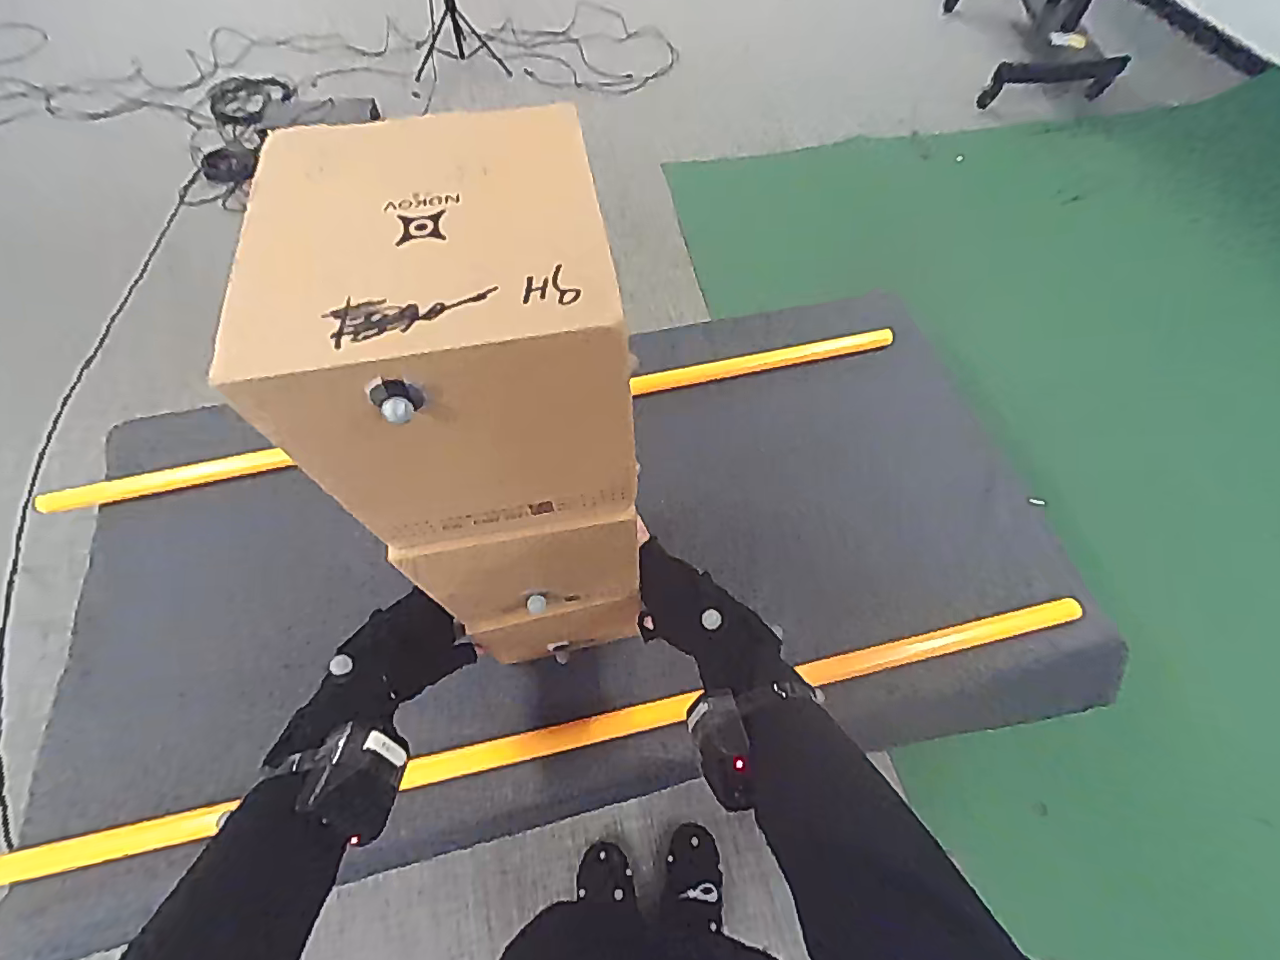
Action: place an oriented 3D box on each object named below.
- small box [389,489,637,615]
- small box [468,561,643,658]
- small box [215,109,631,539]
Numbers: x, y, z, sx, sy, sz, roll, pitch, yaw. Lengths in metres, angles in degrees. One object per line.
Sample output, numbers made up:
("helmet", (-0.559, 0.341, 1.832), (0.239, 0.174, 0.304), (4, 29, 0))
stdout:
("small box", (-0.097, 0.001, 0.470), (0.168, 0.176, 0.179), (-9, 62, -3))
("small box", (-0.095, 0.084, 0.612), (0.168, 0.176, 0.179), (-13, 63, -5))
("small box", (-0.101, -0.085, 0.330), (0.168, 0.176, 0.179), (-10, 61, -3))
